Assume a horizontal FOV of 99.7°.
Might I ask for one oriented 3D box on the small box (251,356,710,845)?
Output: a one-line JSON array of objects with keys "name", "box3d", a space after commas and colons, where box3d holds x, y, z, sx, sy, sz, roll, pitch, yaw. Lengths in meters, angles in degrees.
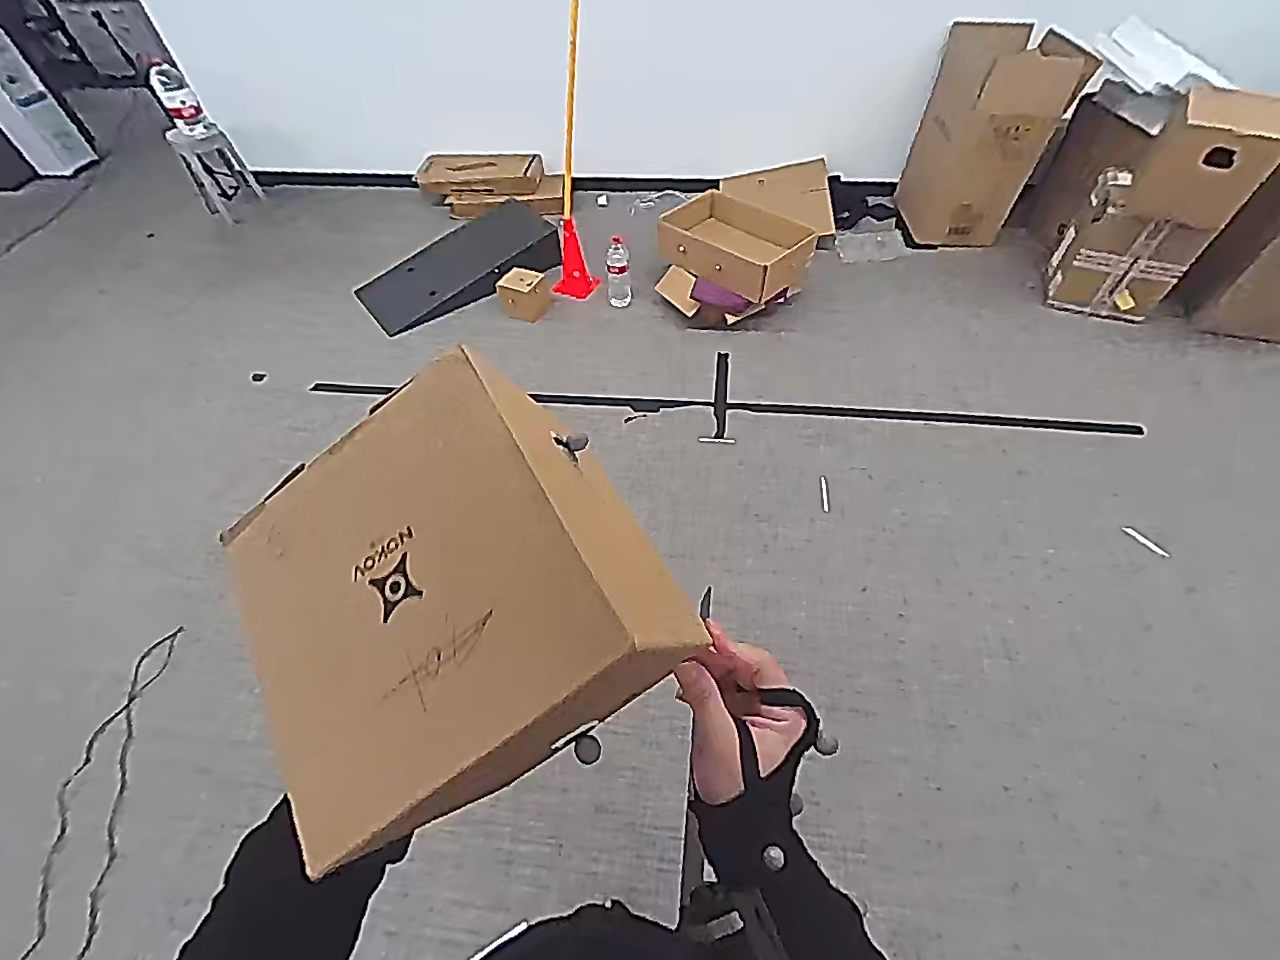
[{"name": "small box", "box3d": [-0.080, 0.068, 0.329, 0.168, 0.176, 0.179, -37, 66, 5]}]
